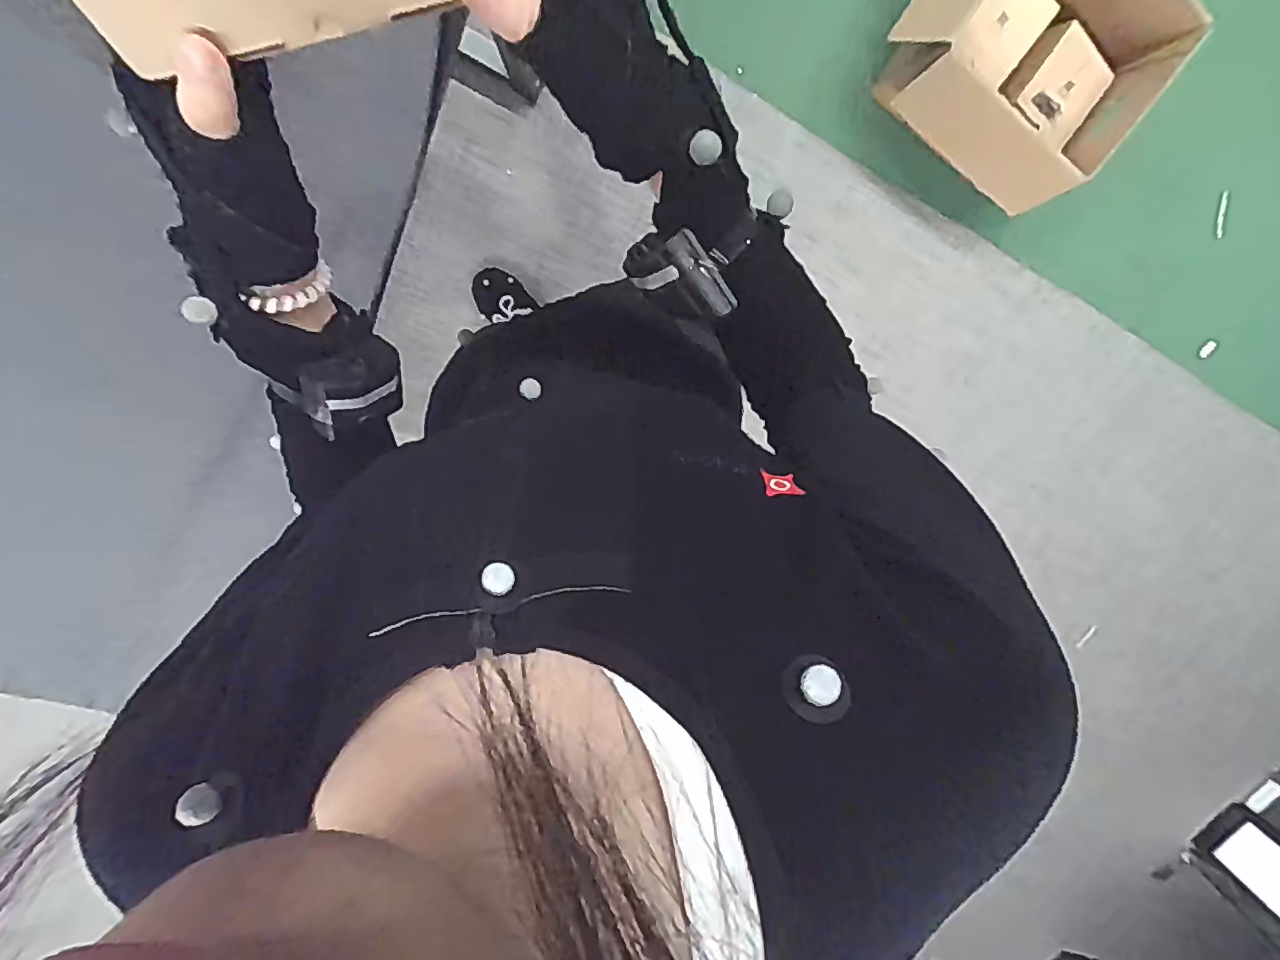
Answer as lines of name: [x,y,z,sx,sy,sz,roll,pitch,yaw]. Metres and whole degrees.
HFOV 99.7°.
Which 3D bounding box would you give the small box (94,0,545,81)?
small box: [-0.134,-0.285,0.183,0.168,0.176,0.179,-11,149,2]
